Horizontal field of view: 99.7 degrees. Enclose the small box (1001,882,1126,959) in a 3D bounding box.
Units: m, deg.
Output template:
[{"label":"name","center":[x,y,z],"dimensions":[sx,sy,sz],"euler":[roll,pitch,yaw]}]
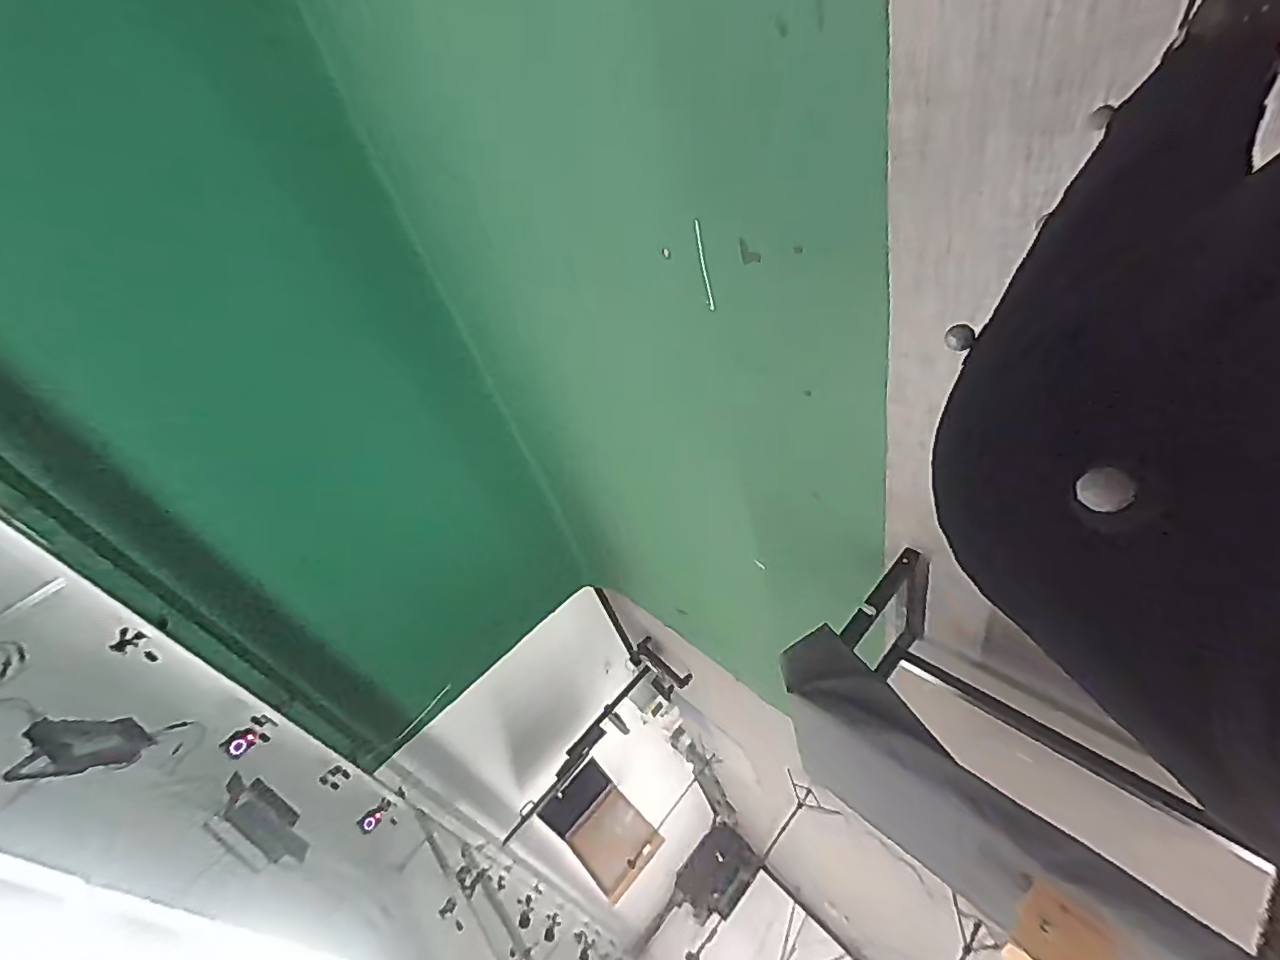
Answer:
[{"label":"small box","center":[0.958,1.064,1.227],"dimensions":[0.168,0.176,0.179],"euler":[28,149,43]}]
